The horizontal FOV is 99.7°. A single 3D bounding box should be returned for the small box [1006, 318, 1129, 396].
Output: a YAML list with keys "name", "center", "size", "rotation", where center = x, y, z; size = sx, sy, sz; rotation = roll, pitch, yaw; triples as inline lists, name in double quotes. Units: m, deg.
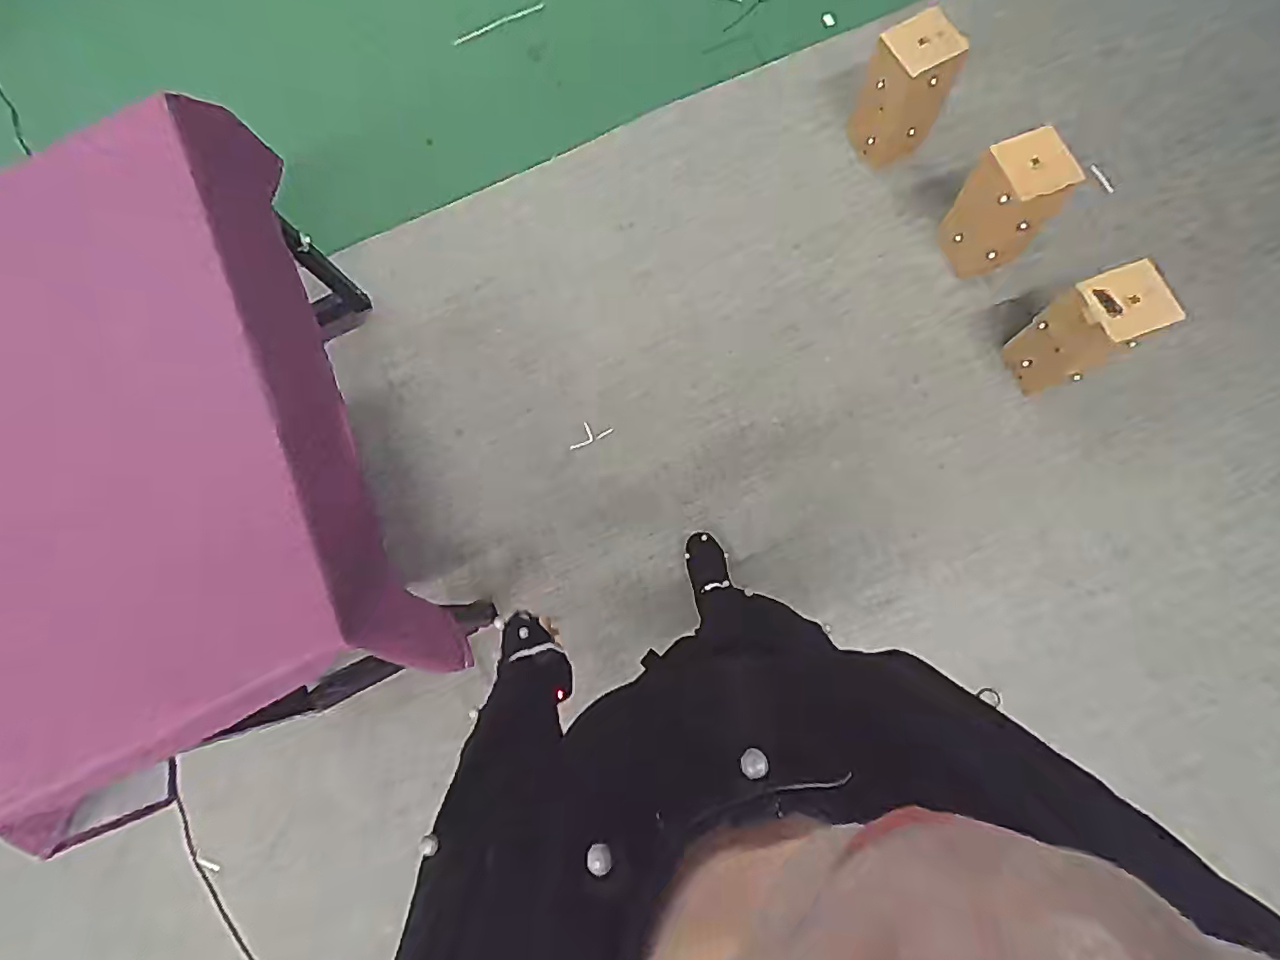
- name: "small box"
  center: [1.132, -0.349, 1.454]
  size: [0.179, 0.176, 0.168]
  rotation: [-21, 77, 1]

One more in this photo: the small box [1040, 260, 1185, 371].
- name: "small box"
  center: [1.110, -0.384, 1.294]
  size: [0.179, 0.176, 0.168]
  rotation: [-20, 77, 0]

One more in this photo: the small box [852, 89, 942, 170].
- name: "small box"
  center: [0.773, -1.100, 1.659]
  size: [0.179, 0.176, 0.168]
  rotation: [-25, 77, 0]

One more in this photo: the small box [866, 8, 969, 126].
- name: "small box"
  center: [0.753, -1.135, 1.500]
  size: [0.179, 0.176, 0.168]
  rotation: [-26, 77, 0]

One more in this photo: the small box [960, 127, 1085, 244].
- name: "small box"
  center: [0.970, -0.752, 1.392]
  size: [0.168, 0.176, 0.179]
  rotation: [-20, 76, 1]
